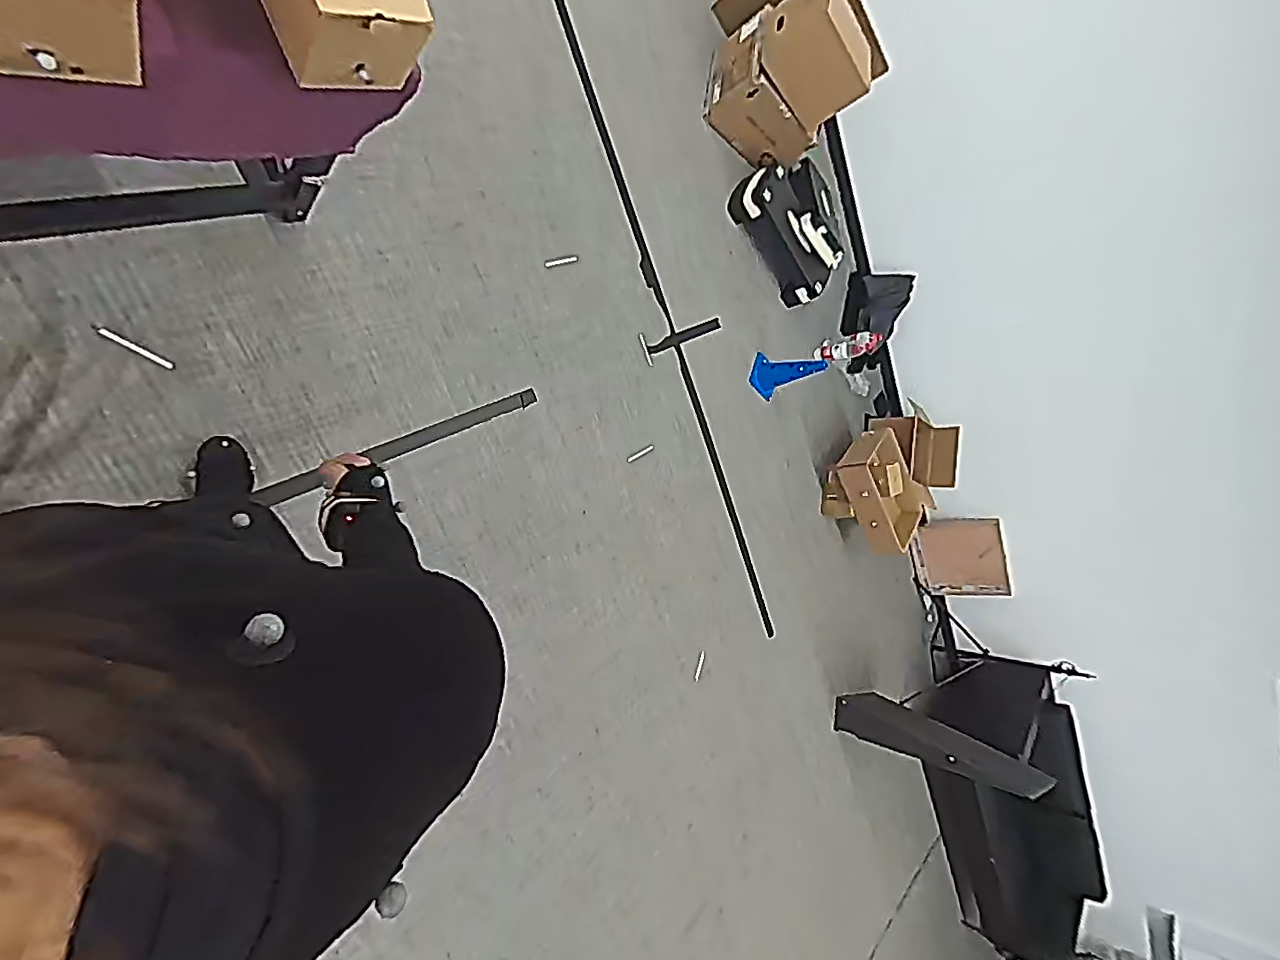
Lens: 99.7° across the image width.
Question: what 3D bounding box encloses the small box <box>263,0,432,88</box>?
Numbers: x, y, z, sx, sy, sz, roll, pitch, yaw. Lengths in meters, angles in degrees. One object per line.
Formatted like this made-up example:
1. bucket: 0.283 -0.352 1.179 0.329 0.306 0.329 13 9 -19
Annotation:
1. small box: -0.441 -0.716 0.787 0.168 0.176 0.179 -31 108 -36
